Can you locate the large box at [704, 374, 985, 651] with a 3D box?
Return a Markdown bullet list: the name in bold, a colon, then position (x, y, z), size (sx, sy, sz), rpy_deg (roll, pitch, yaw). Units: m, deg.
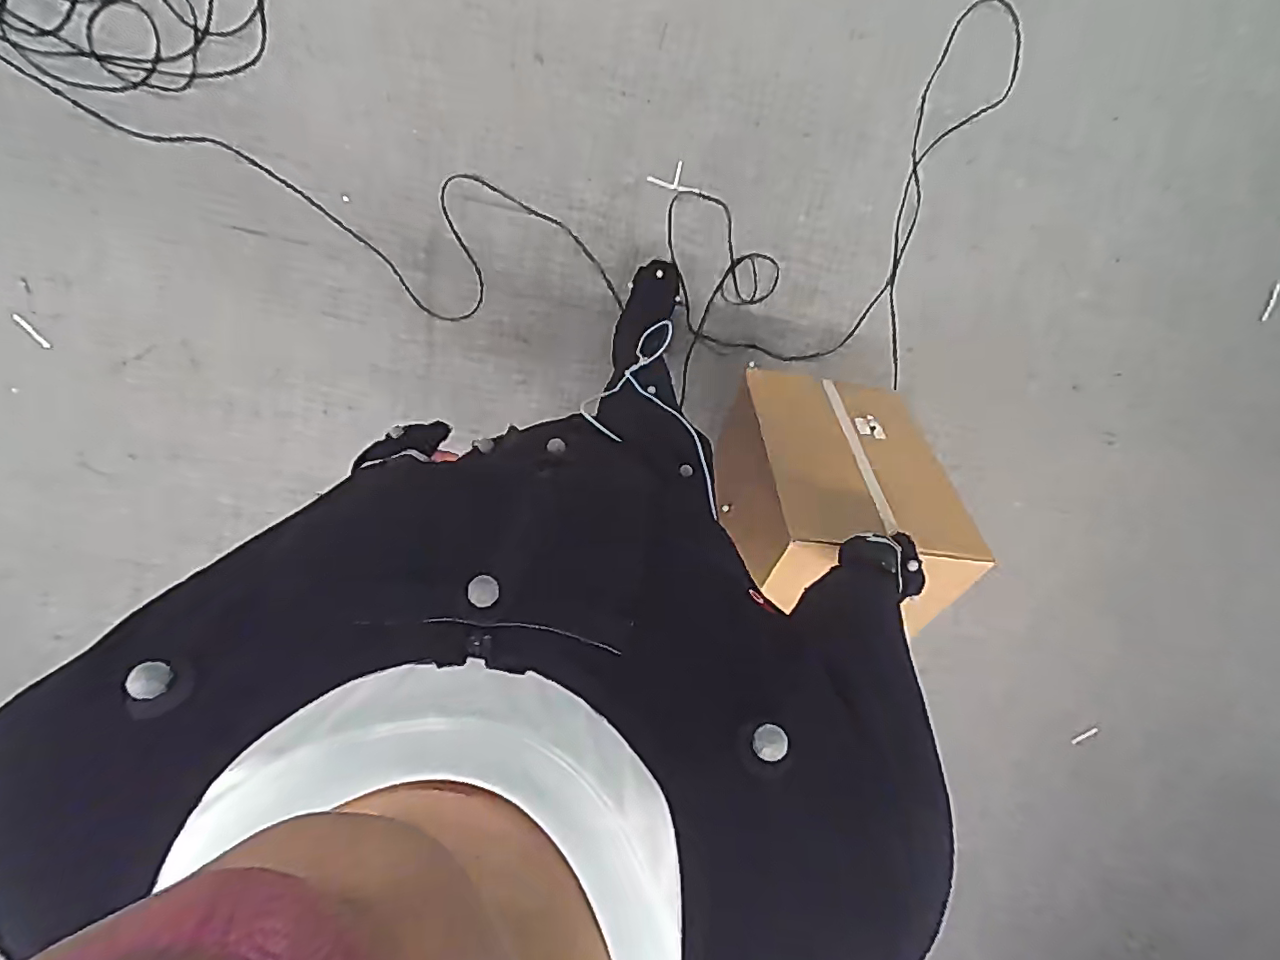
- **large box**: position (0.322, 0.060, 1.001), size (0.320, 0.408, 0.320), rpy_deg (7, 134, -9)
